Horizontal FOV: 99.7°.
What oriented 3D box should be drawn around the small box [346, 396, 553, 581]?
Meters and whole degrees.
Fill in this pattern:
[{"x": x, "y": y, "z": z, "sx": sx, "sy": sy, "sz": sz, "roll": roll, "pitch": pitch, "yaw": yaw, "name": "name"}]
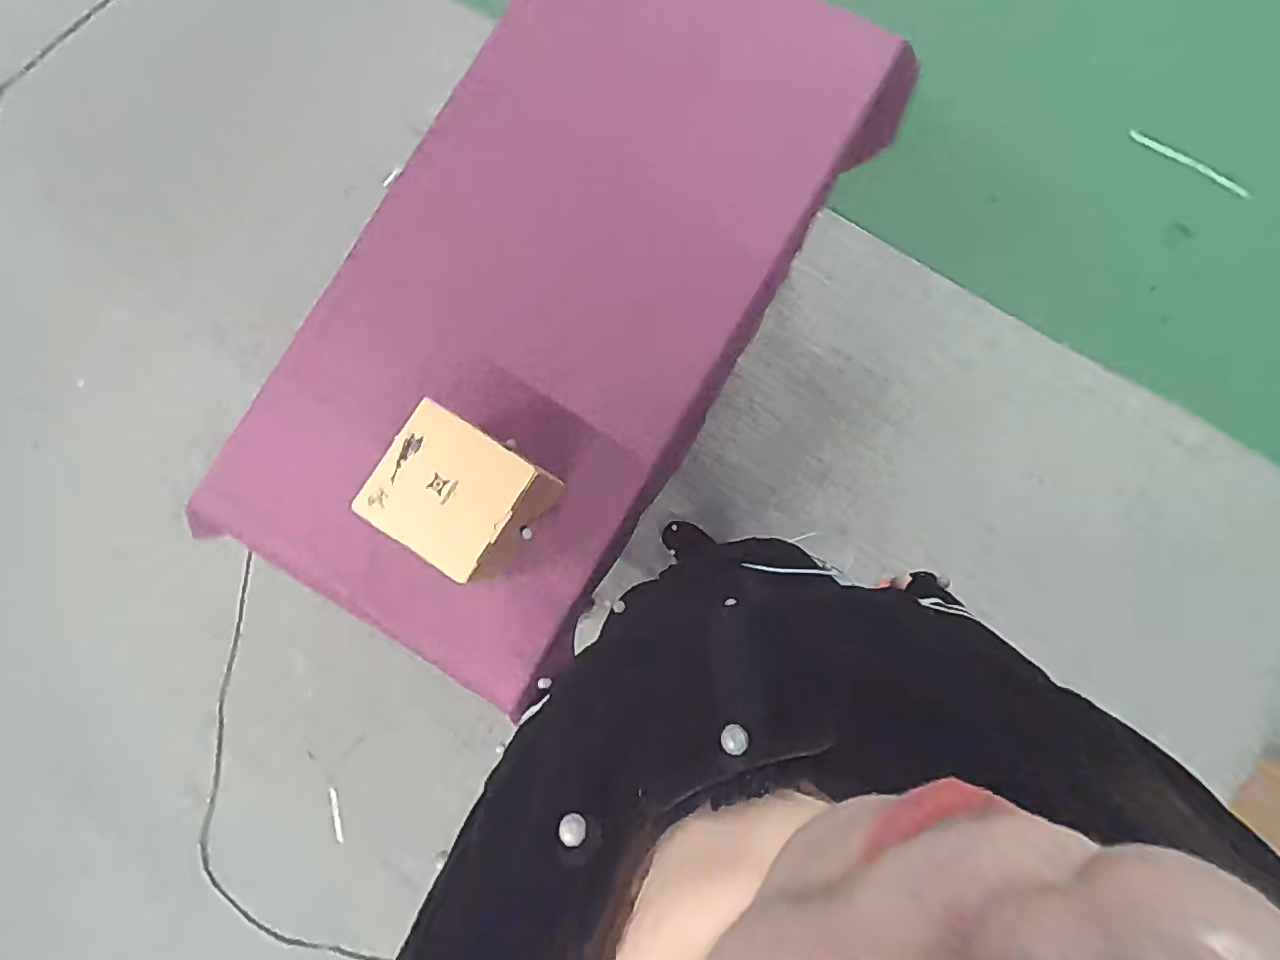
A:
[{"x": -0.240, "y": 0.014, "z": 0.734, "sx": 0.179, "sy": 0.176, "sz": 0.168, "roll": 33, "pitch": 86, "yaw": 5, "name": "small box"}]
